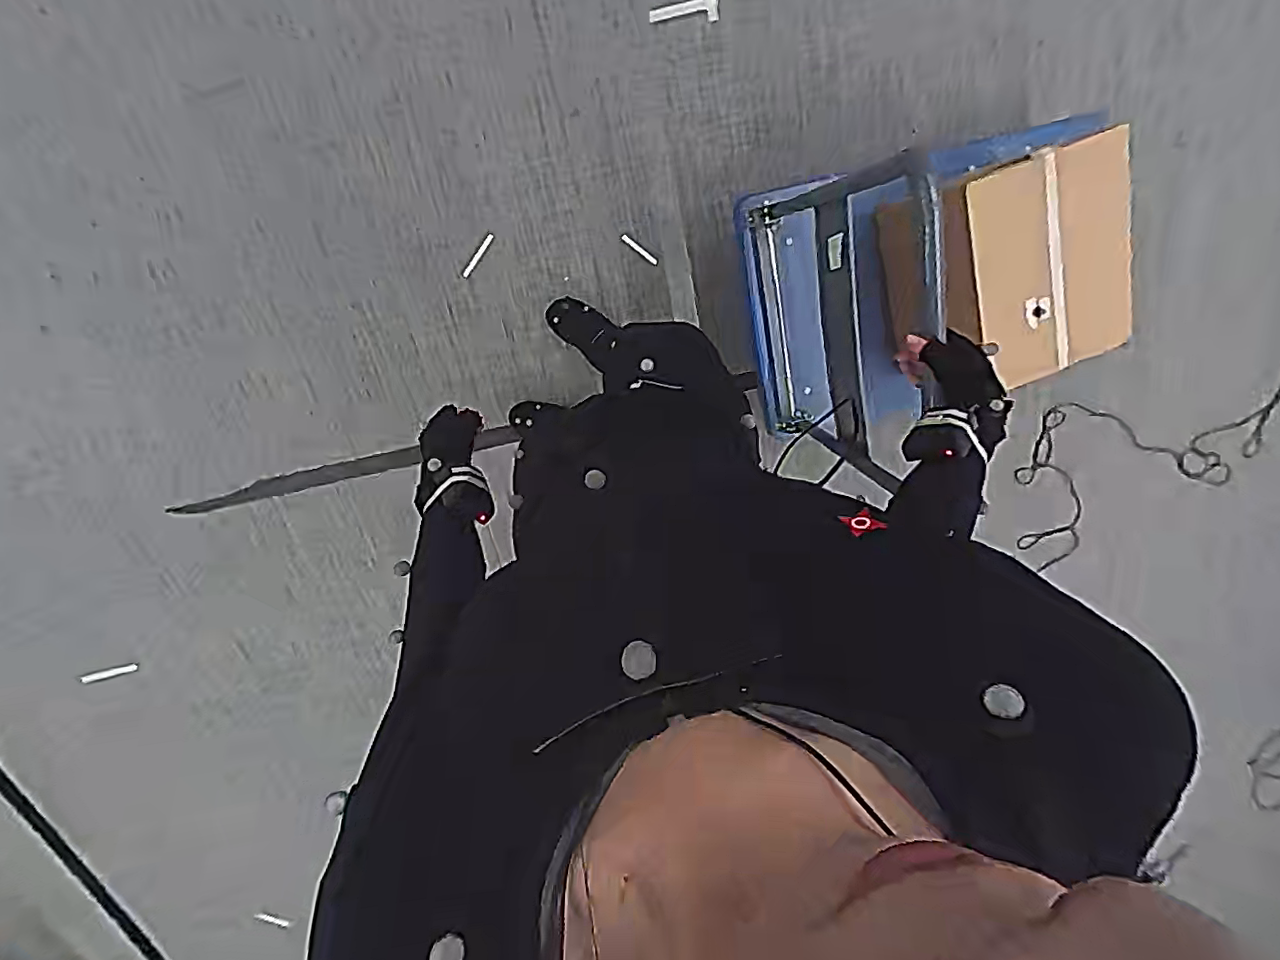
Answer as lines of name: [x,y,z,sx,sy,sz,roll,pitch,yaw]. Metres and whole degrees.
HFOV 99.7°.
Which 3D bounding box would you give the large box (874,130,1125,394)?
large box: [0.756,-0.448,1.165,0.320,0.320,0.408,-21,111,0]
